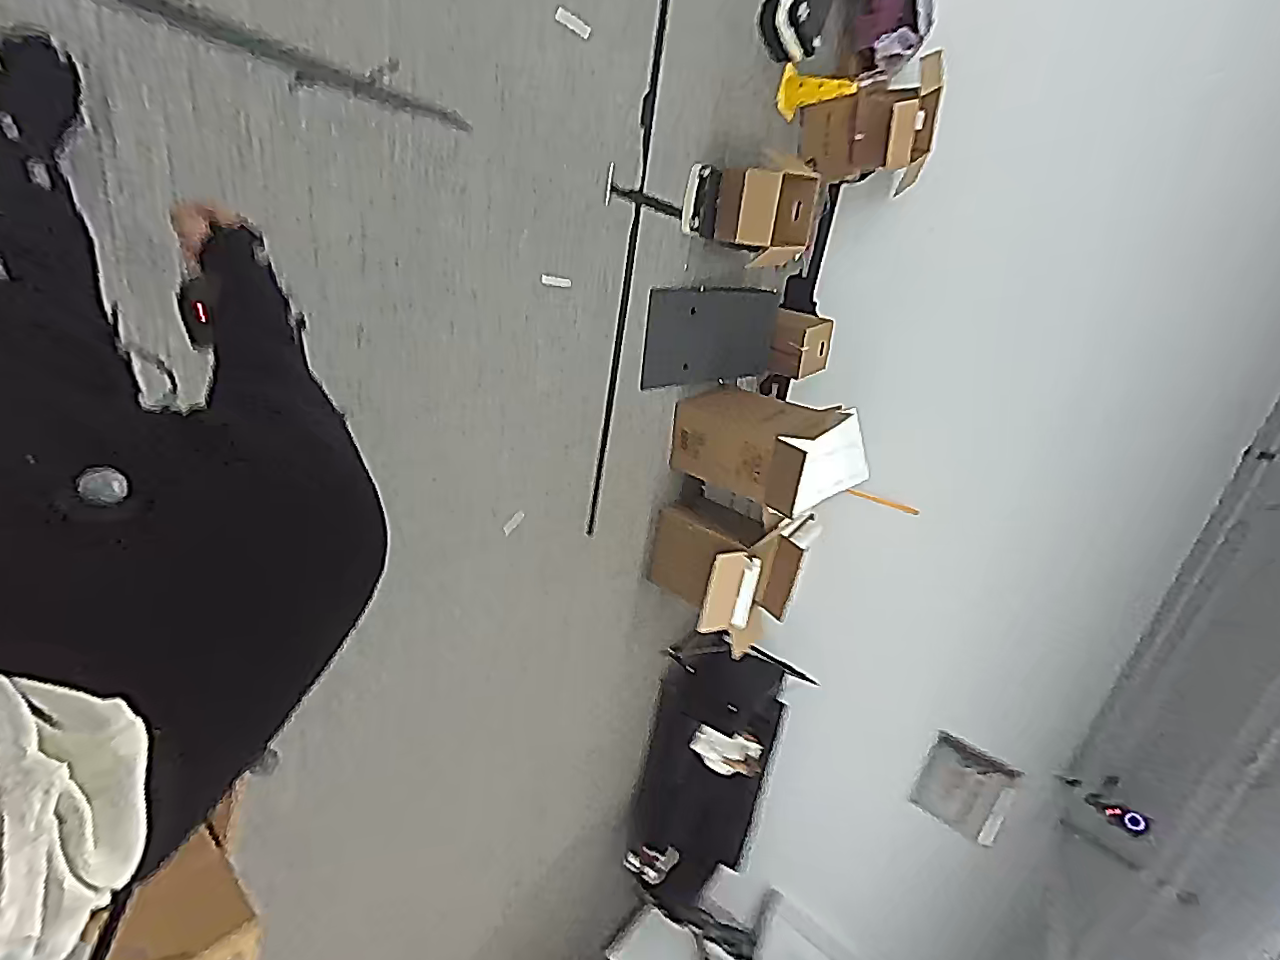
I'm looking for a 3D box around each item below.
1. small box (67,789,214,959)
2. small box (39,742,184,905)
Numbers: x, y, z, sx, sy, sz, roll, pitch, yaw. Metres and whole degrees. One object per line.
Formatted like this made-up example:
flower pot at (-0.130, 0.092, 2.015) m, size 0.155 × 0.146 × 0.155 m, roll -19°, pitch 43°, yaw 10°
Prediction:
small box at (-0.903, 0.715, 0.983) m, size 0.168 × 0.176 × 0.179 m, roll -12°, pitch 121°, yaw -53°
small box at (-1.034, 0.656, 1.061) m, size 0.179 × 0.176 × 0.168 m, roll -7°, pitch 116°, yaw -53°
